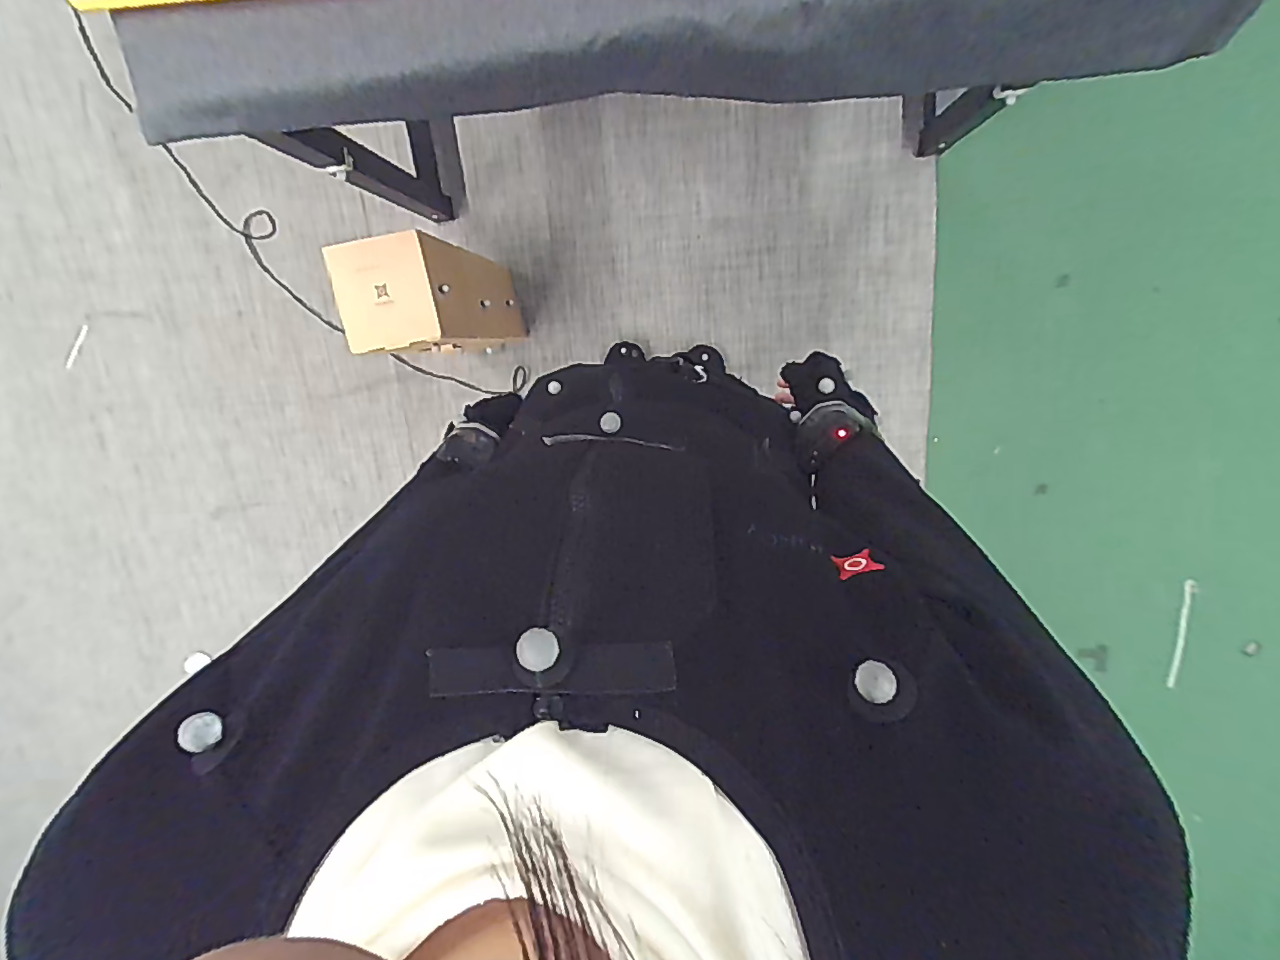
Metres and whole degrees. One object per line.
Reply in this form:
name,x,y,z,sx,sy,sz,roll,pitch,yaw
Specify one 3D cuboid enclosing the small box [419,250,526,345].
small box,-0.386,-0.424,1.279,0.168,0.176,0.179,-11,105,8
